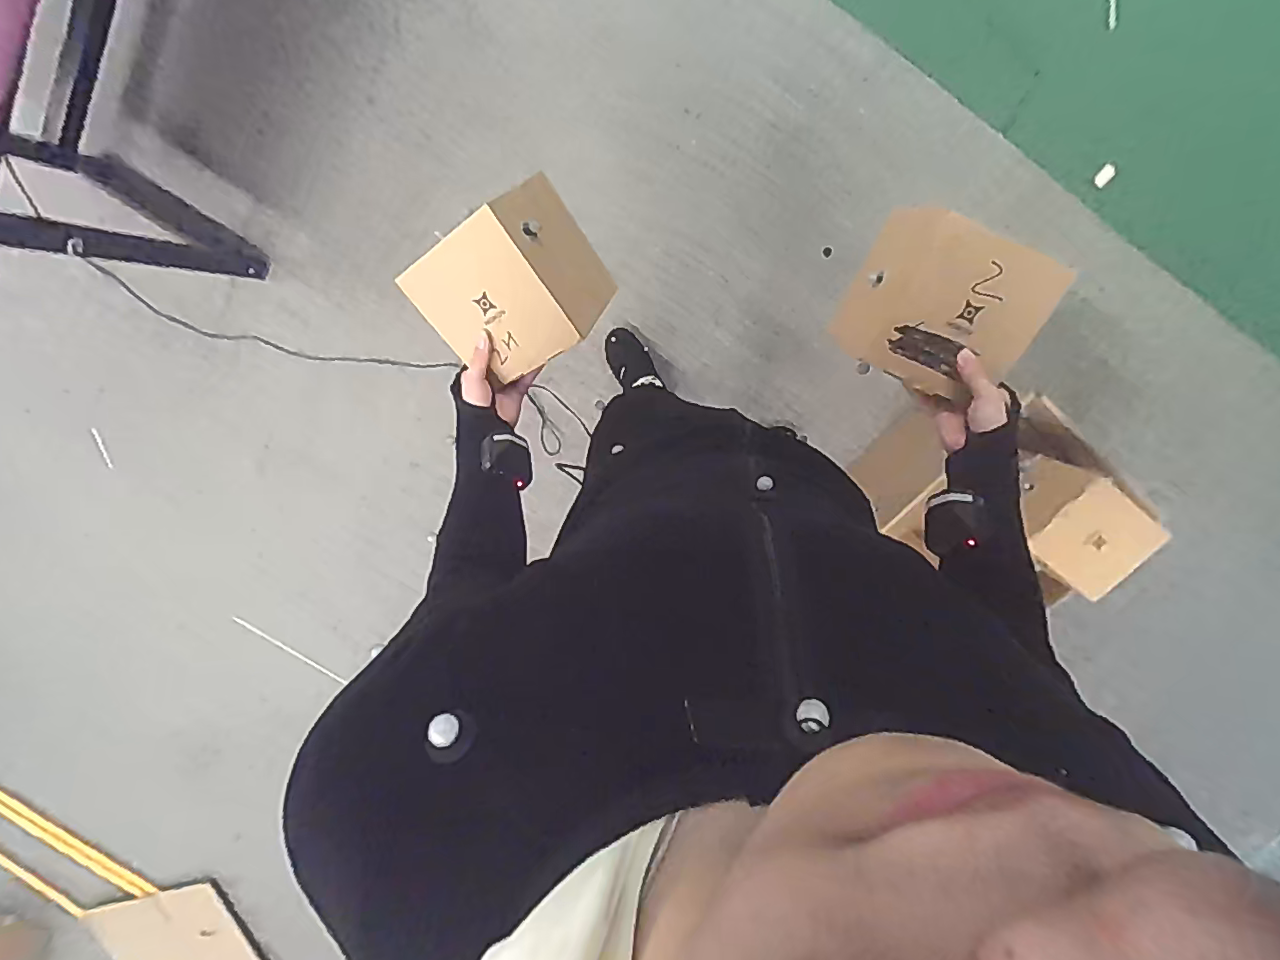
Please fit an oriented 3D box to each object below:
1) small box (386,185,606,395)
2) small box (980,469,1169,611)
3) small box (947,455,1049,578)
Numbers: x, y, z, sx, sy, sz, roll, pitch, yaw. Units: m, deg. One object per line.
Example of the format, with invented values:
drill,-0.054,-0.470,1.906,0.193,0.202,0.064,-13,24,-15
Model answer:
small box,-0.169,-0.245,0.686,0.168,0.176,0.179,-20,122,30
small box,0.792,0.101,1.007,0.179,0.176,0.168,38,105,-5
small box,0.812,0.069,1.166,0.168,0.176,0.179,39,105,-5
